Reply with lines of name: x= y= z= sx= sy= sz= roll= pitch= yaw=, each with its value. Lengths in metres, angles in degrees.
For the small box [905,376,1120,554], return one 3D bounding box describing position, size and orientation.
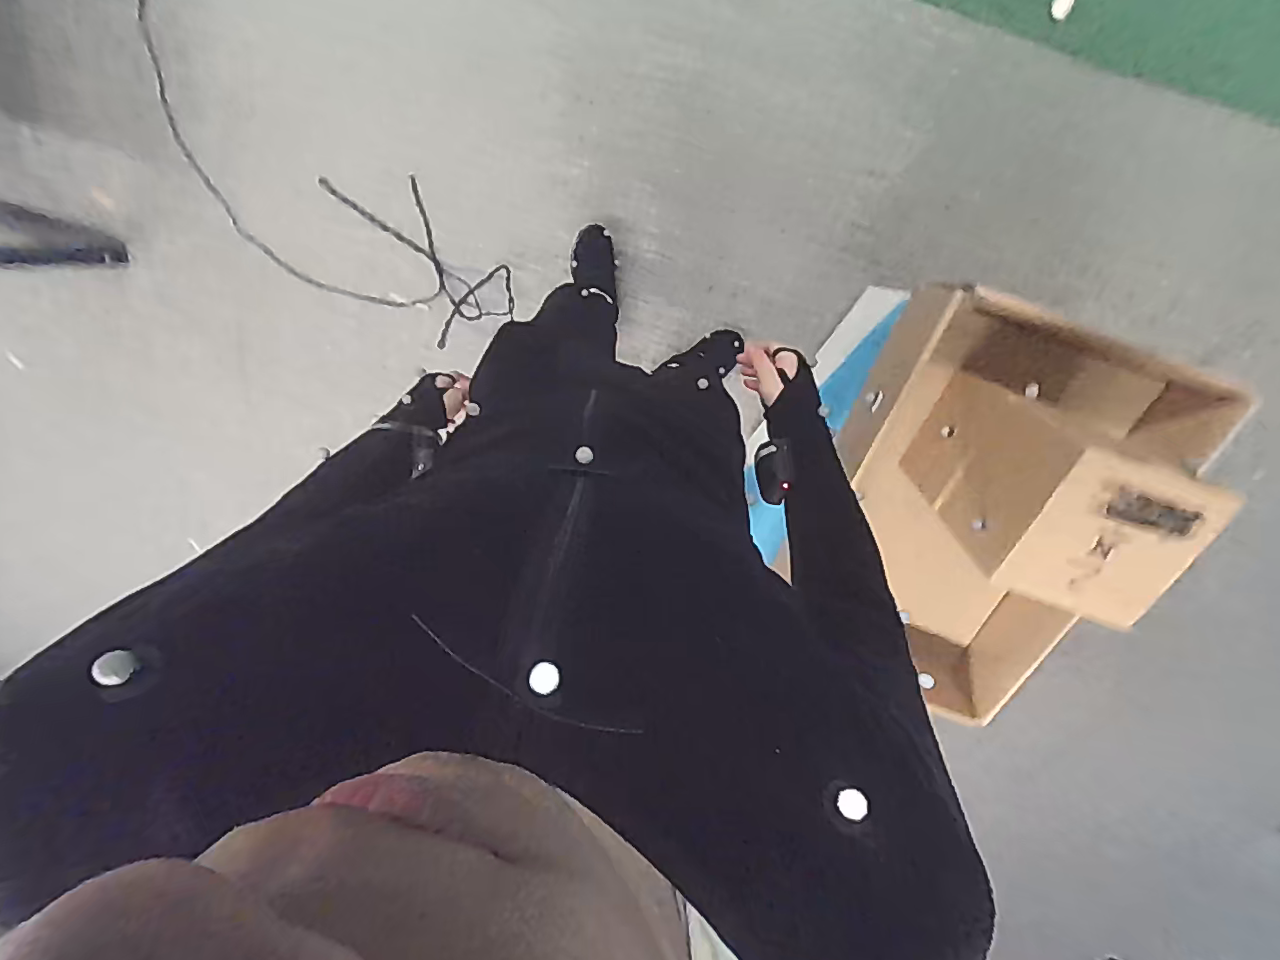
small box: x=0.516 y=-0.029 z=0.788 sx=0.168 sy=0.176 sz=0.179 roll=21 pitch=116 yaw=-1
